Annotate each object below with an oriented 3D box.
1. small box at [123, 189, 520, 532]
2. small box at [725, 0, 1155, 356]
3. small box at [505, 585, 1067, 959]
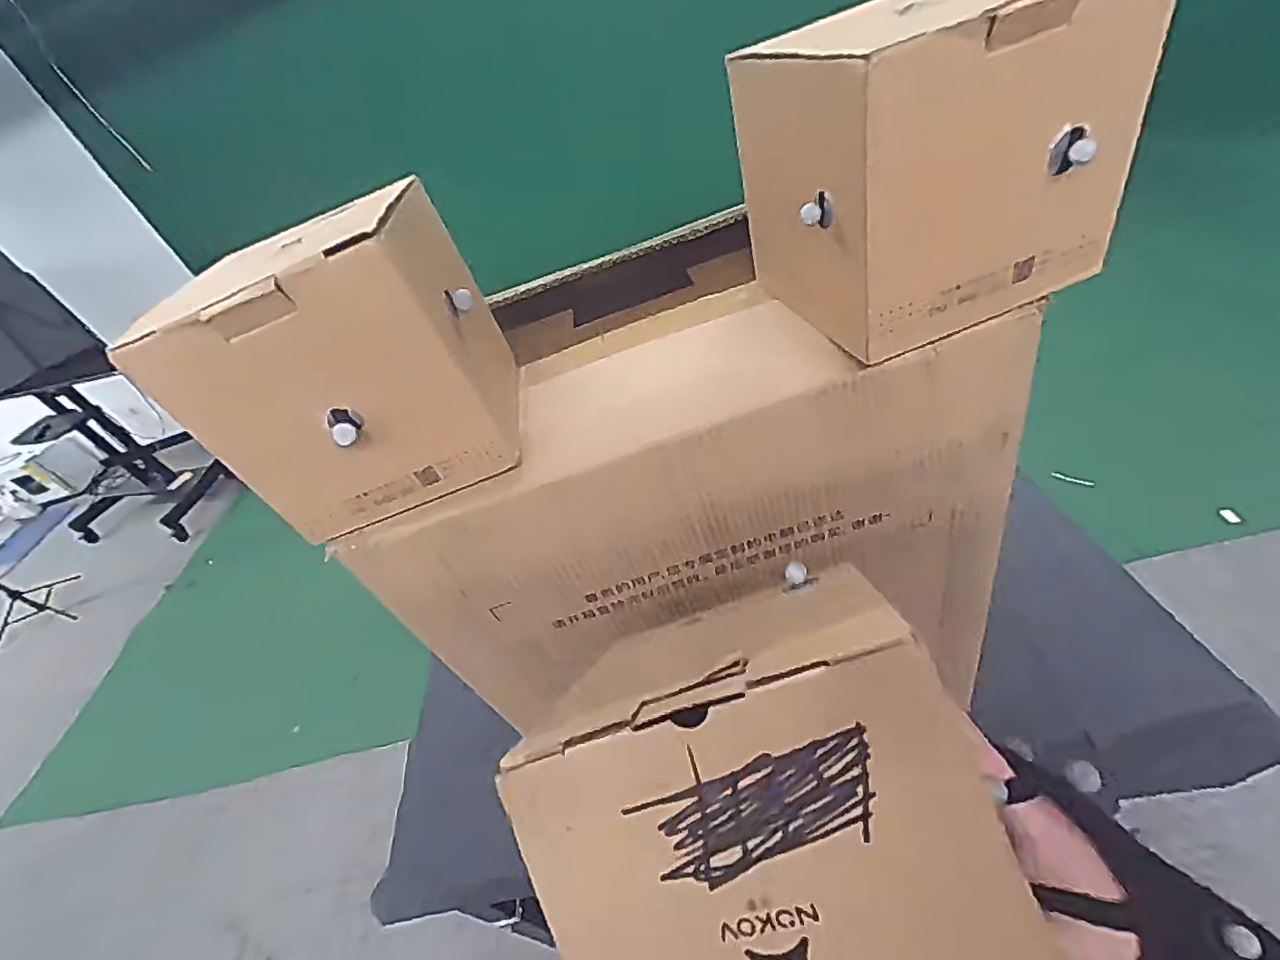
[{"bbox_3d":[-0.200,-0.083,0.406,0.168,0.176,0.179,-21,40,3],"label":"small box"},{"bbox_3d":[0.176,-0.203,0.363,0.168,0.176,0.179,-21,38,-2],"label":"small box"},{"bbox_3d":[0.069,0.161,0.260,0.168,0.179,0.176,-23,-5,13],"label":"small box"}]
